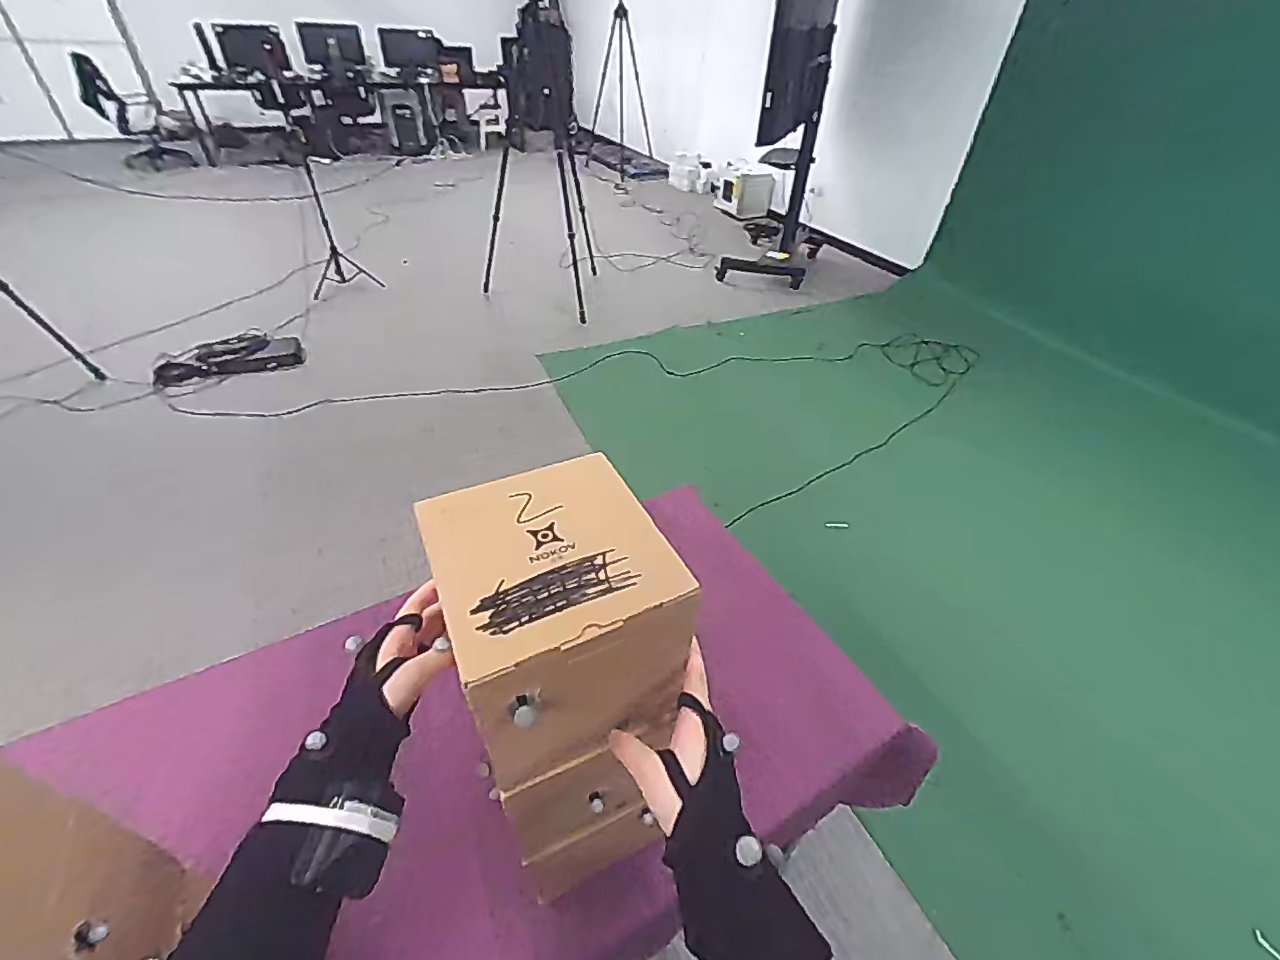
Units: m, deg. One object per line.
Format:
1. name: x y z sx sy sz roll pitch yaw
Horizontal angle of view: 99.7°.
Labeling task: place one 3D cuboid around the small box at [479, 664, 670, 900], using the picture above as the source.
1. small box: -0.079 0.368 0.663 0.179 0.176 0.168 -17 44 -22

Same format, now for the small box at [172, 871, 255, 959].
1. small box: -0.473 0.503 0.485 0.179 0.176 0.168 -17 44 -23
